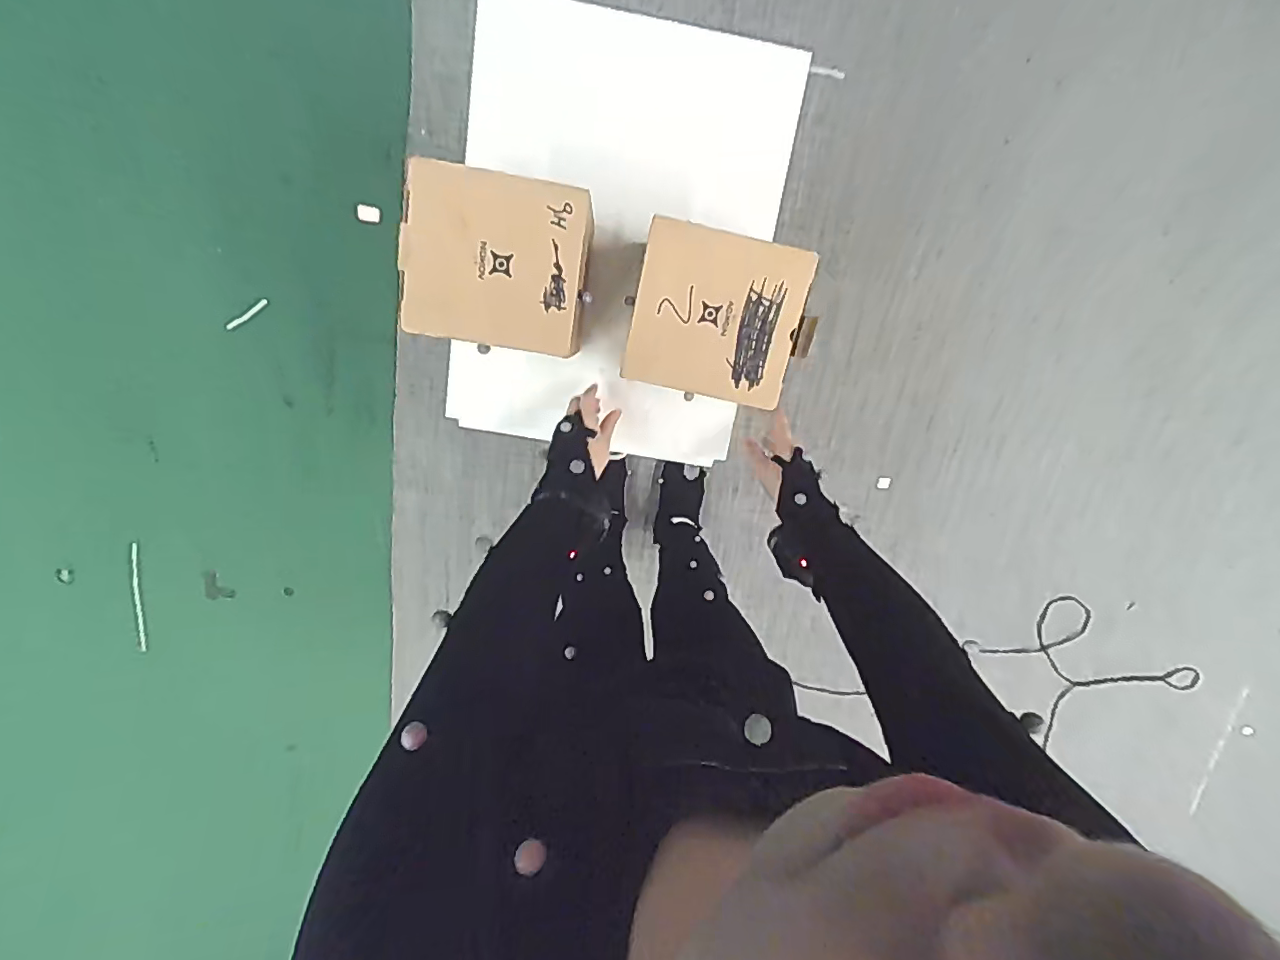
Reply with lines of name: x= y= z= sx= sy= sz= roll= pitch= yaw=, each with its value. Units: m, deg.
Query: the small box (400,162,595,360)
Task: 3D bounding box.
small box: x=-0.151 y=-0.235 z=0.621 sx=0.179 sy=0.176 sz=0.168 roll=8 pitch=104 yaw=-5
